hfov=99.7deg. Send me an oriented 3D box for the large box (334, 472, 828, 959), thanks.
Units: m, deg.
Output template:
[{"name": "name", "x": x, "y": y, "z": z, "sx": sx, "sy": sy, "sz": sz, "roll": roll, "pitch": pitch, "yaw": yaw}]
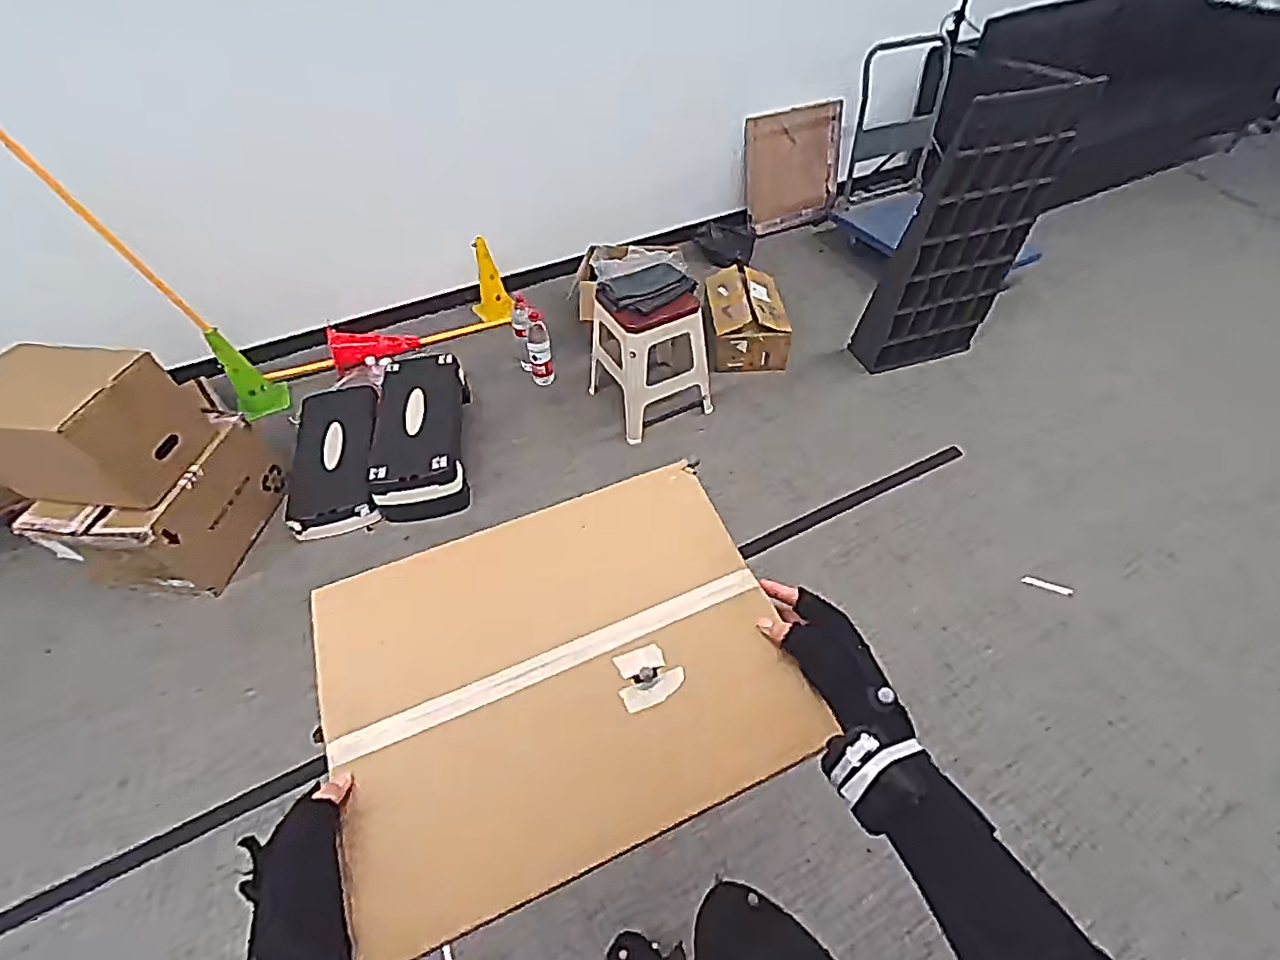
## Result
[{"name": "large box", "x": -0.071, "y": 0.254, "z": 0.638, "sx": 0.408, "sy": 0.320, "sz": 0.320, "roll": -19, "pitch": 60, "yaw": -13}]
